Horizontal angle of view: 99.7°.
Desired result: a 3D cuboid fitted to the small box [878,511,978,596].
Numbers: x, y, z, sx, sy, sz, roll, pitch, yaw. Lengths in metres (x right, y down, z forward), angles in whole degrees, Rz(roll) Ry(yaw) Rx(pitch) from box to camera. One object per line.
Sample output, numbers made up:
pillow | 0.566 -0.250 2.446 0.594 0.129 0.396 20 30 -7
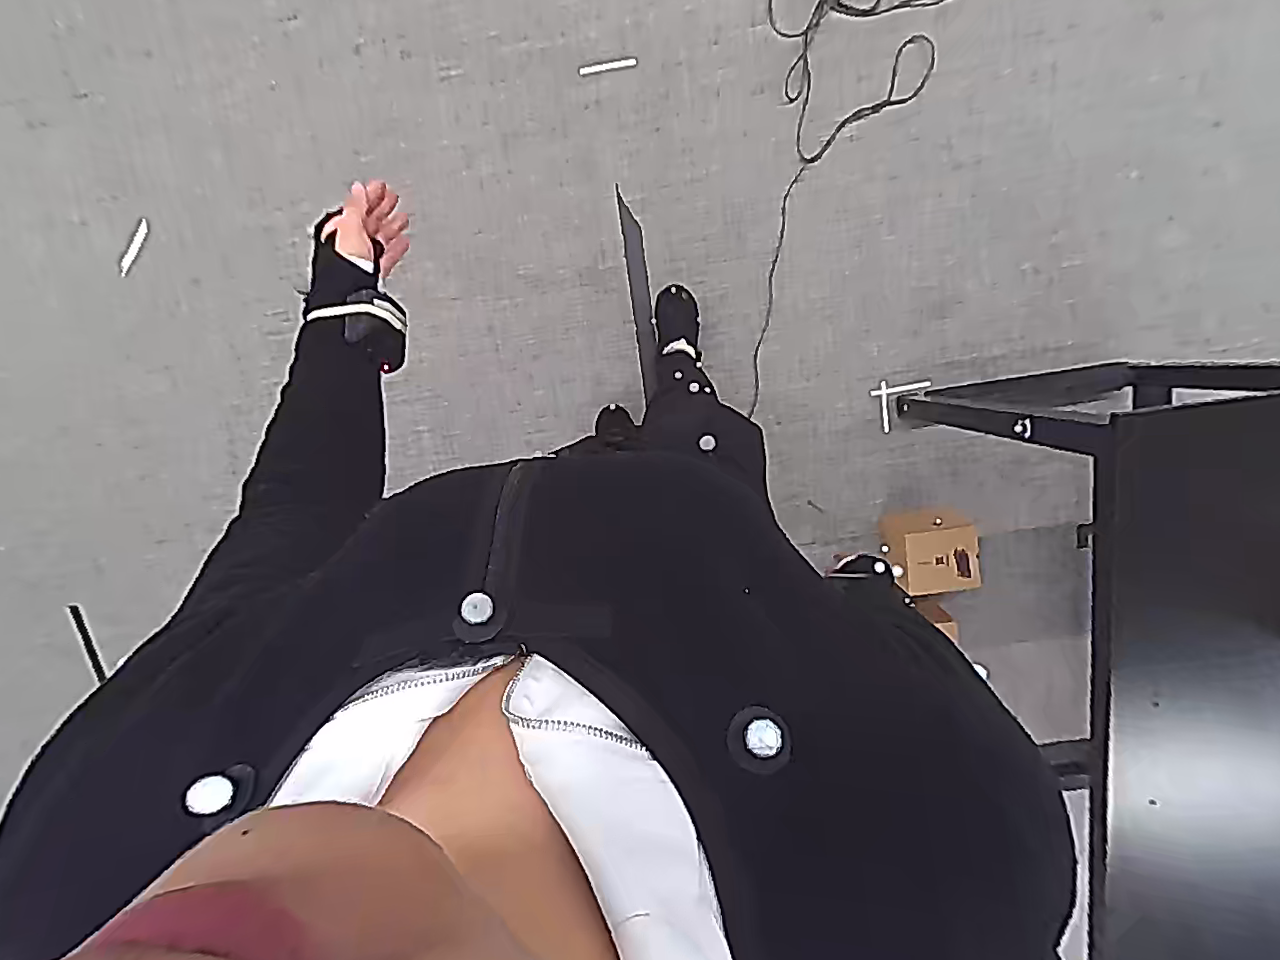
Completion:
small box | 0.749 0.187 1.415 0.179 0.176 0.168 -8 100 5
